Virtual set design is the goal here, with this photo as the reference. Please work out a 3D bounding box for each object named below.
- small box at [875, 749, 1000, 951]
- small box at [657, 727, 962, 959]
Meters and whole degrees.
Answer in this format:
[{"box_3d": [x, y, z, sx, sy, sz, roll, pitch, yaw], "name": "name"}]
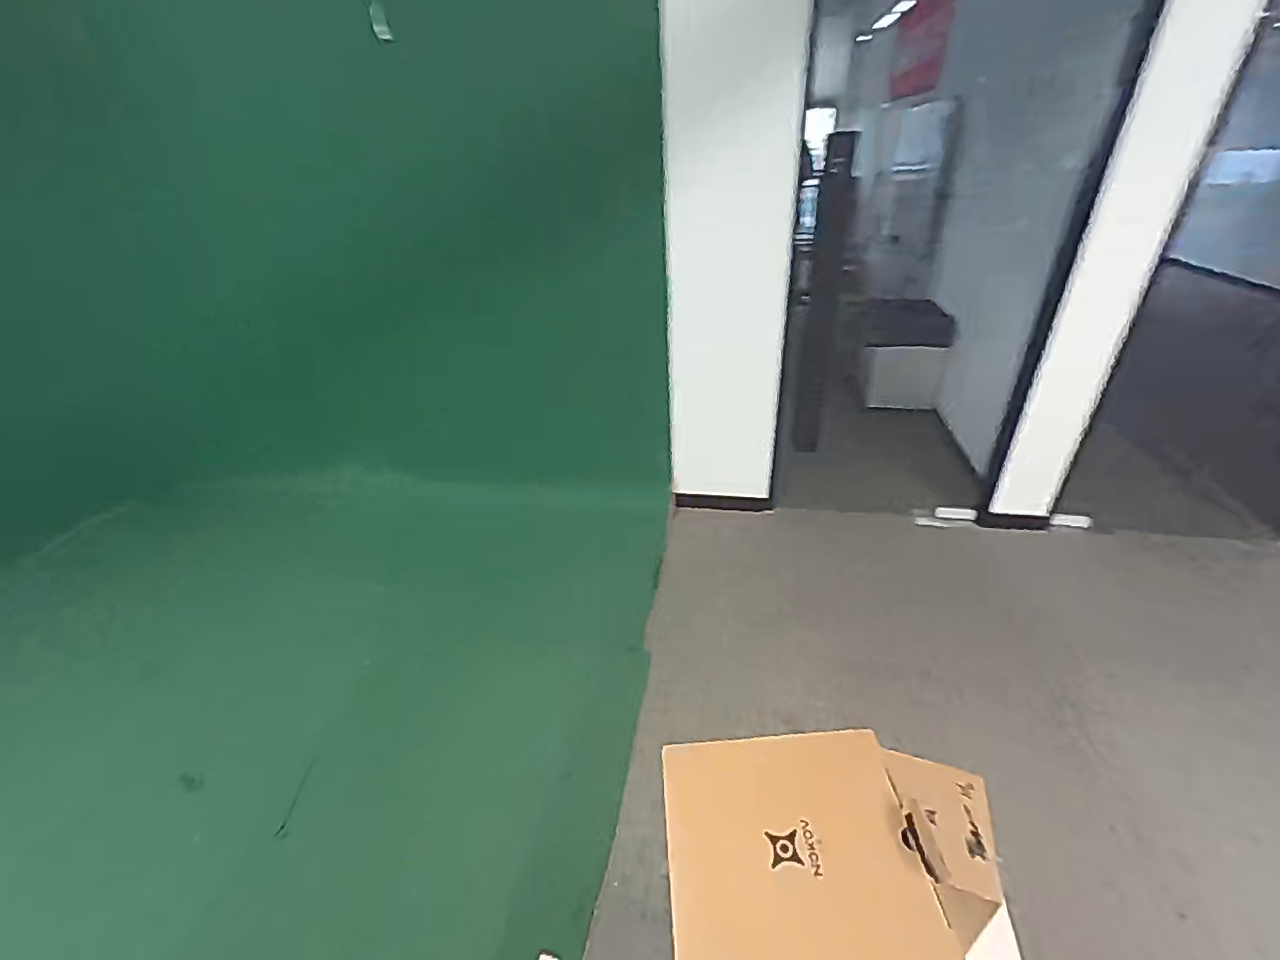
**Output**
[{"box_3d": [0.385, 0.526, 0.778, 0.179, 0.176, 0.168, 9, 34, 19], "name": "small box"}, {"box_3d": [0.111, 0.323, 0.423, 0.179, 0.176, 0.168, -6, 33, 1], "name": "small box"}]
